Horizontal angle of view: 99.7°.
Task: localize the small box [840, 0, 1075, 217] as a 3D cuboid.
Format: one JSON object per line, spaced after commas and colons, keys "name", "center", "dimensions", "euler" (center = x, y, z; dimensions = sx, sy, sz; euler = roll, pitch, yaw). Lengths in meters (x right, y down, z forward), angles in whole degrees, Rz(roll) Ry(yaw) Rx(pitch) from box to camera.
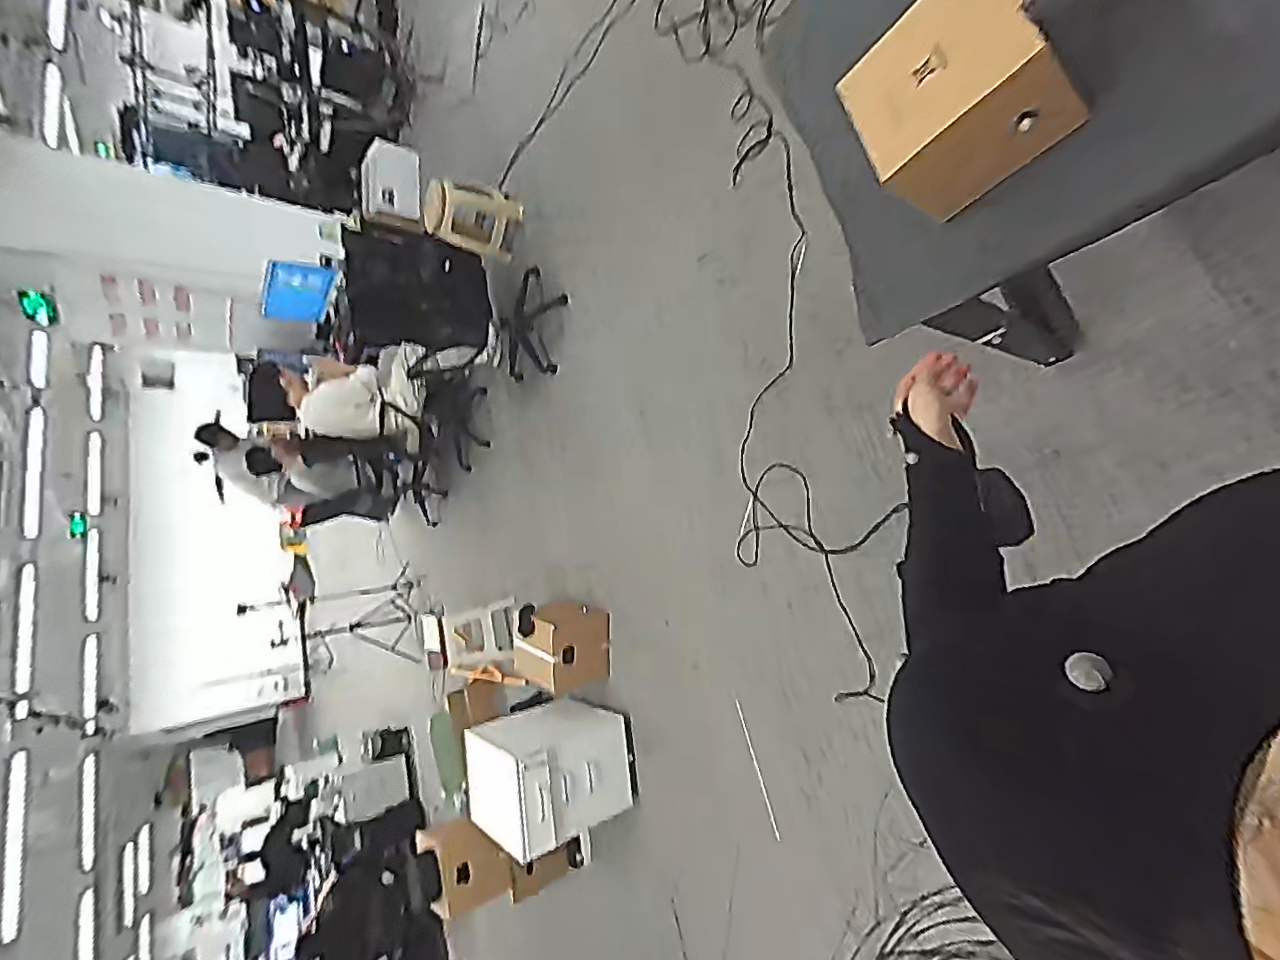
{"name": "small box", "center": [0.386, -0.462, 0.657], "dimensions": [0.179, 0.176, 0.168], "euler": [-34, 63, 47]}
